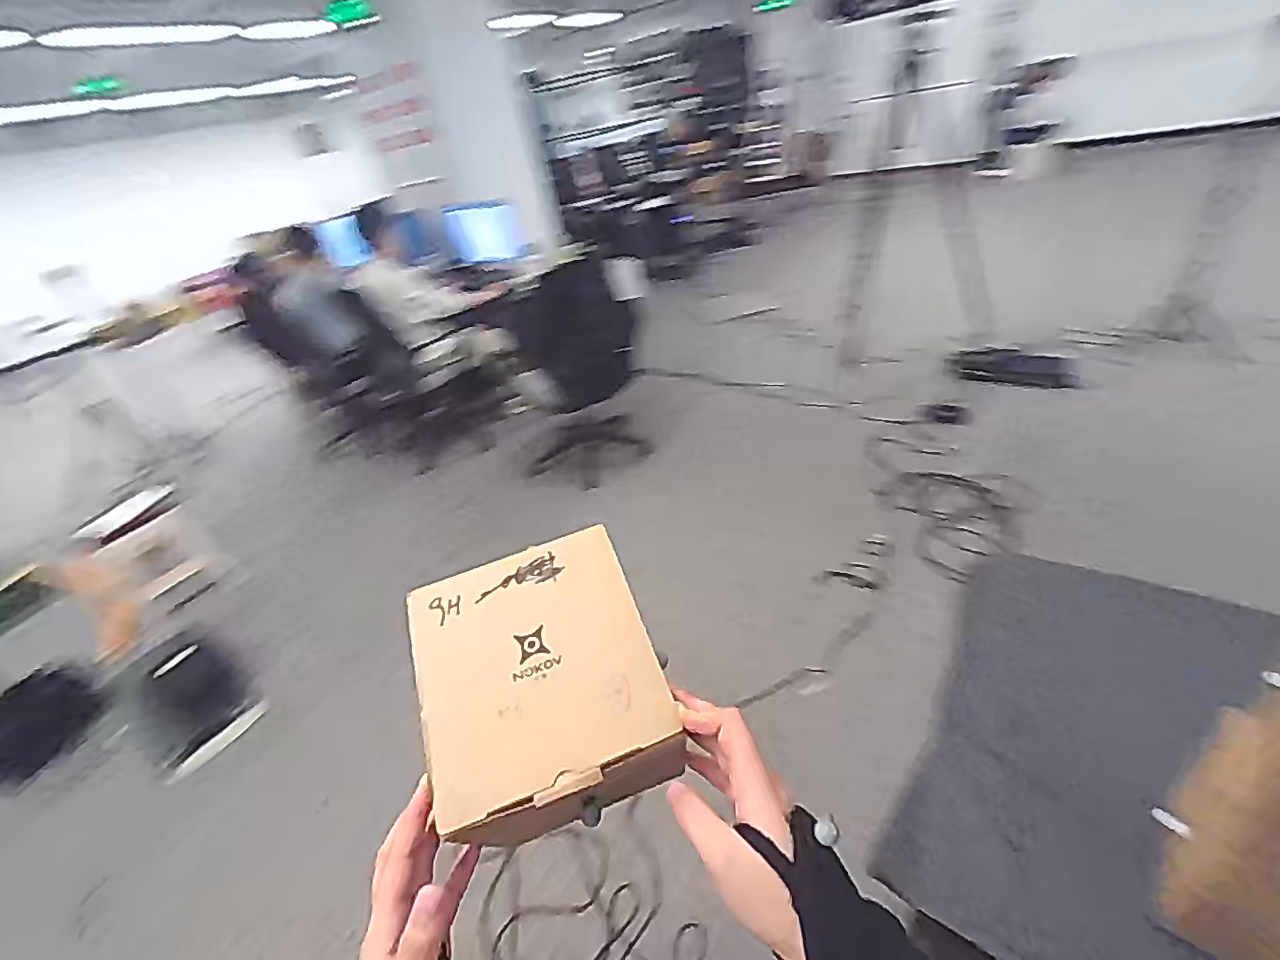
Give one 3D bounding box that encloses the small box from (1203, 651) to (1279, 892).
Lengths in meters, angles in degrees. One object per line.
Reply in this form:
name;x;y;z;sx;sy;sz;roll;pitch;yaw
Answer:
small box;0.581;0.232;0.410;0.179;0.176;0.168;-35;39;-29
